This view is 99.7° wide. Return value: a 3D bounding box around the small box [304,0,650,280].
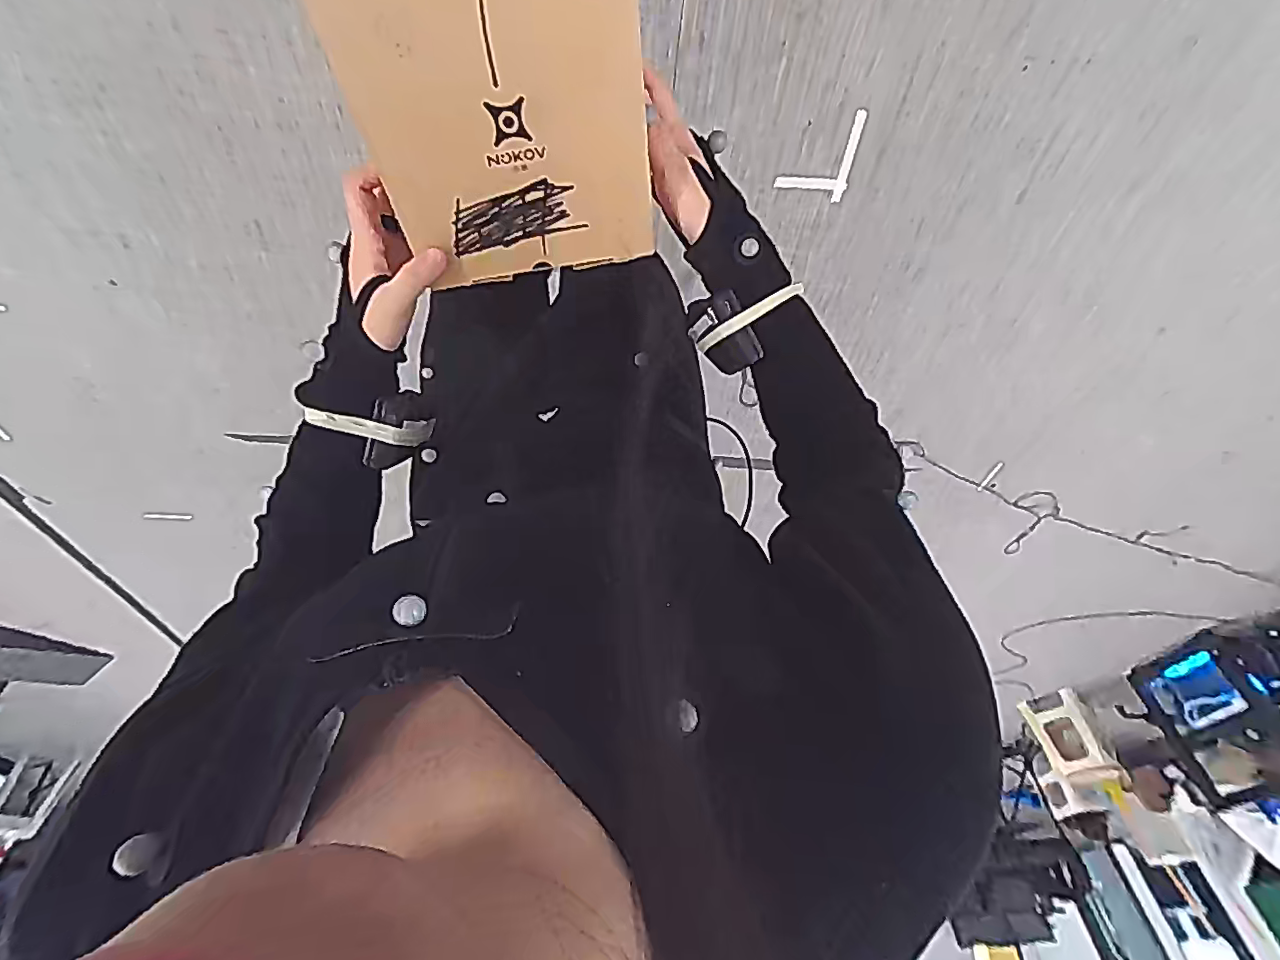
[{"bbox_3d":[-0.089,-0.267,0.364,0.168,0.176,0.179,-10,141,-2],"label":"small box"}]
